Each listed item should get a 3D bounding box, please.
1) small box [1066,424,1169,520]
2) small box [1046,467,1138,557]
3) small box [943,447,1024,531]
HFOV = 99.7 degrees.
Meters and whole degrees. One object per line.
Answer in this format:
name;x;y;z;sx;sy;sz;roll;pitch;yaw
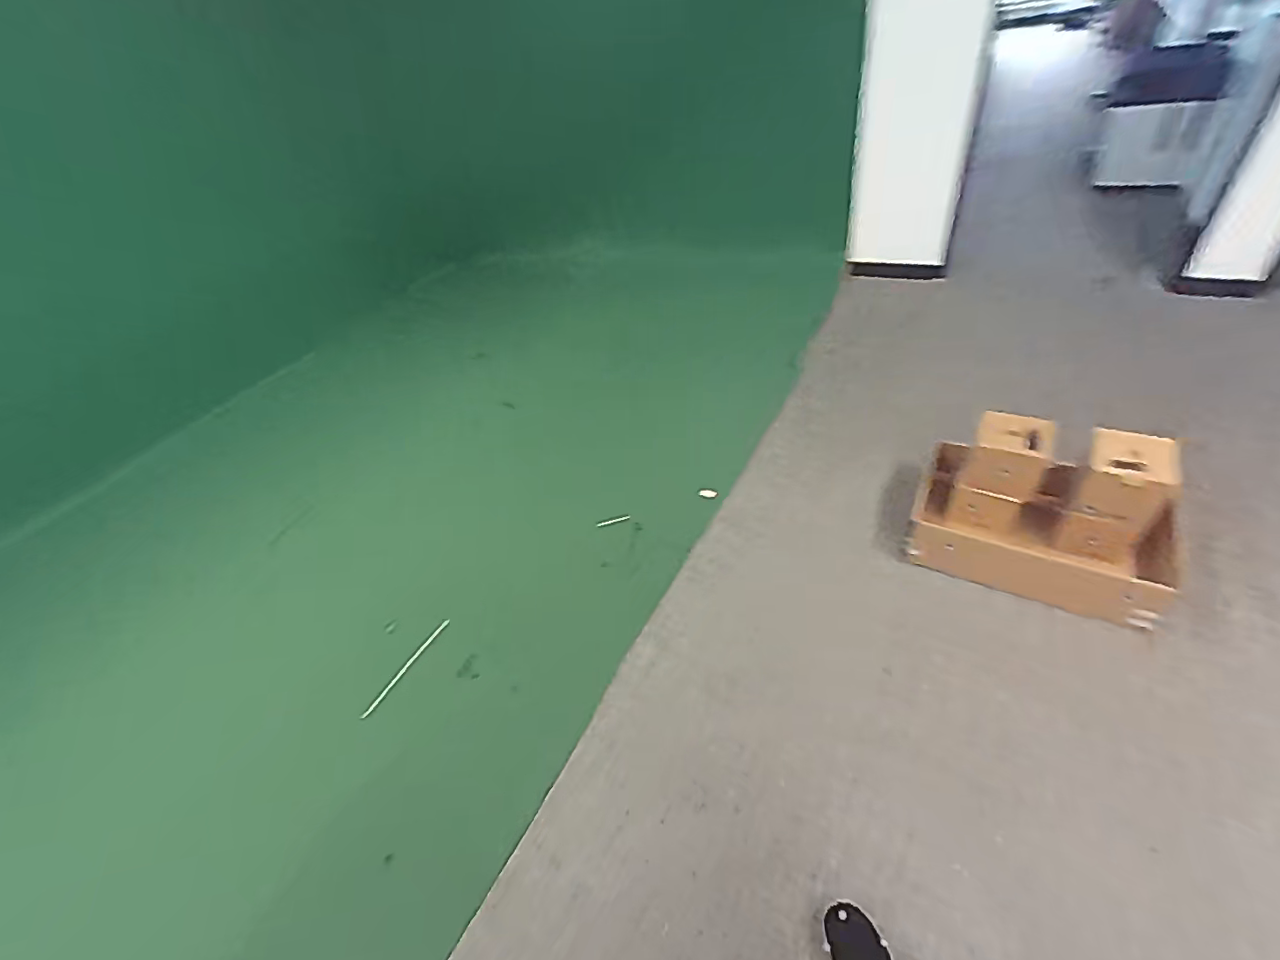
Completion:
small box;1.268;-0.020;1.443;0.168;0.176;0.179;16;52;28
small box;1.298;0.095;1.557;0.168;0.176;0.179;15;52;28
small box;1.065;0.029;1.686;0.168;0.176;0.179;20;53;29
